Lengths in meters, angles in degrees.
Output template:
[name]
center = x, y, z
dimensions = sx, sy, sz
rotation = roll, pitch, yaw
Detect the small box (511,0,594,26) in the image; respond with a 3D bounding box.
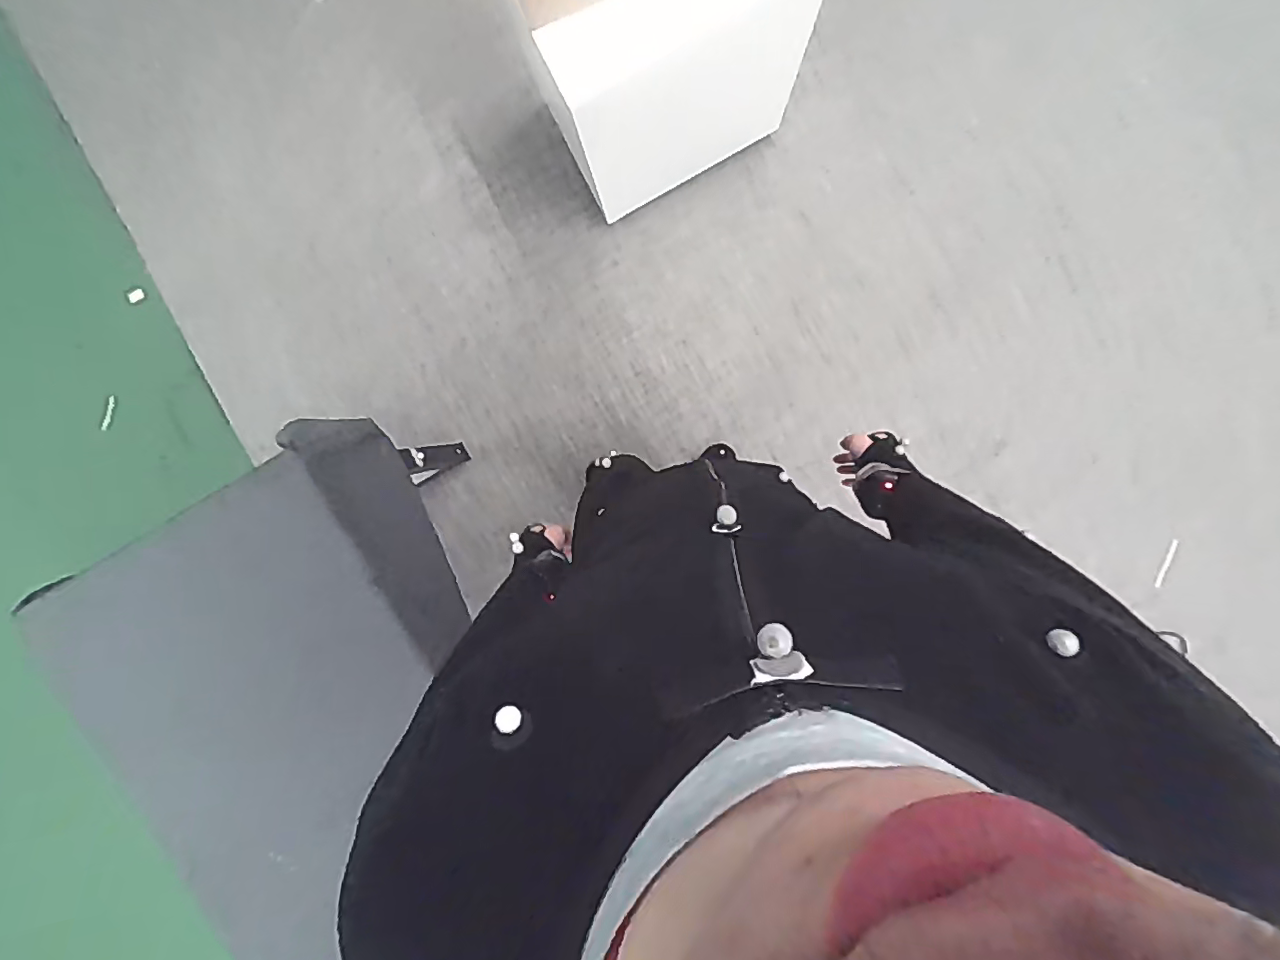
[small box]
center = -0.141, -0.838, 0.800
dimensions = 0.179, 0.176, 0.168
rotation = -19, 94, 3
